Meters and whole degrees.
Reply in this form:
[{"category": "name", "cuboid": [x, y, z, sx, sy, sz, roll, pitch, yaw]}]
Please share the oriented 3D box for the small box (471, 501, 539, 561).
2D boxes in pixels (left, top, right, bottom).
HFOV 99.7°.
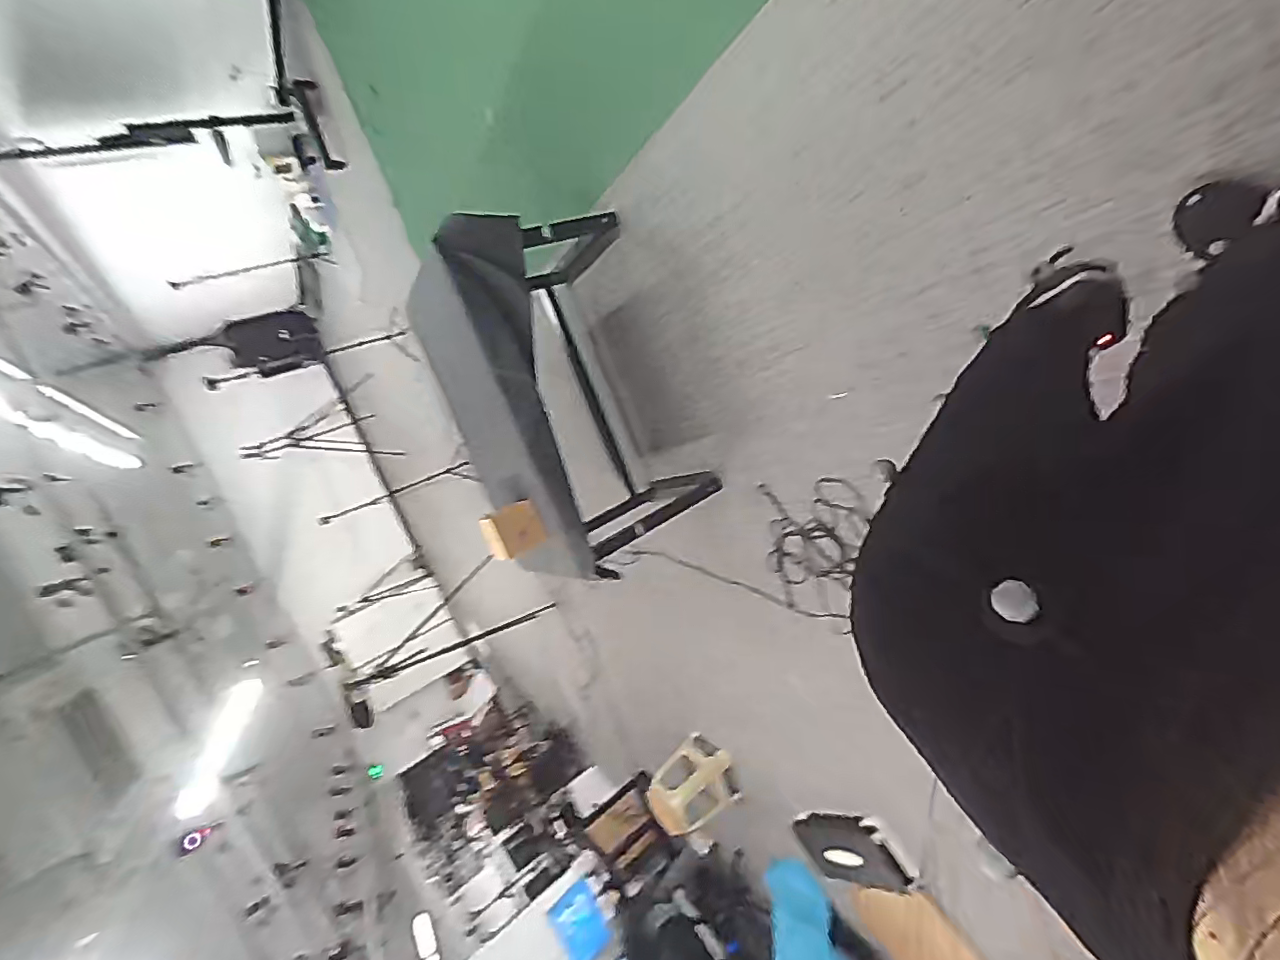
[{"category": "small box", "cuboid": [-0.493, 0.186, 1.986, 0.179, 0.176, 0.168, -12, 103, 60]}]
